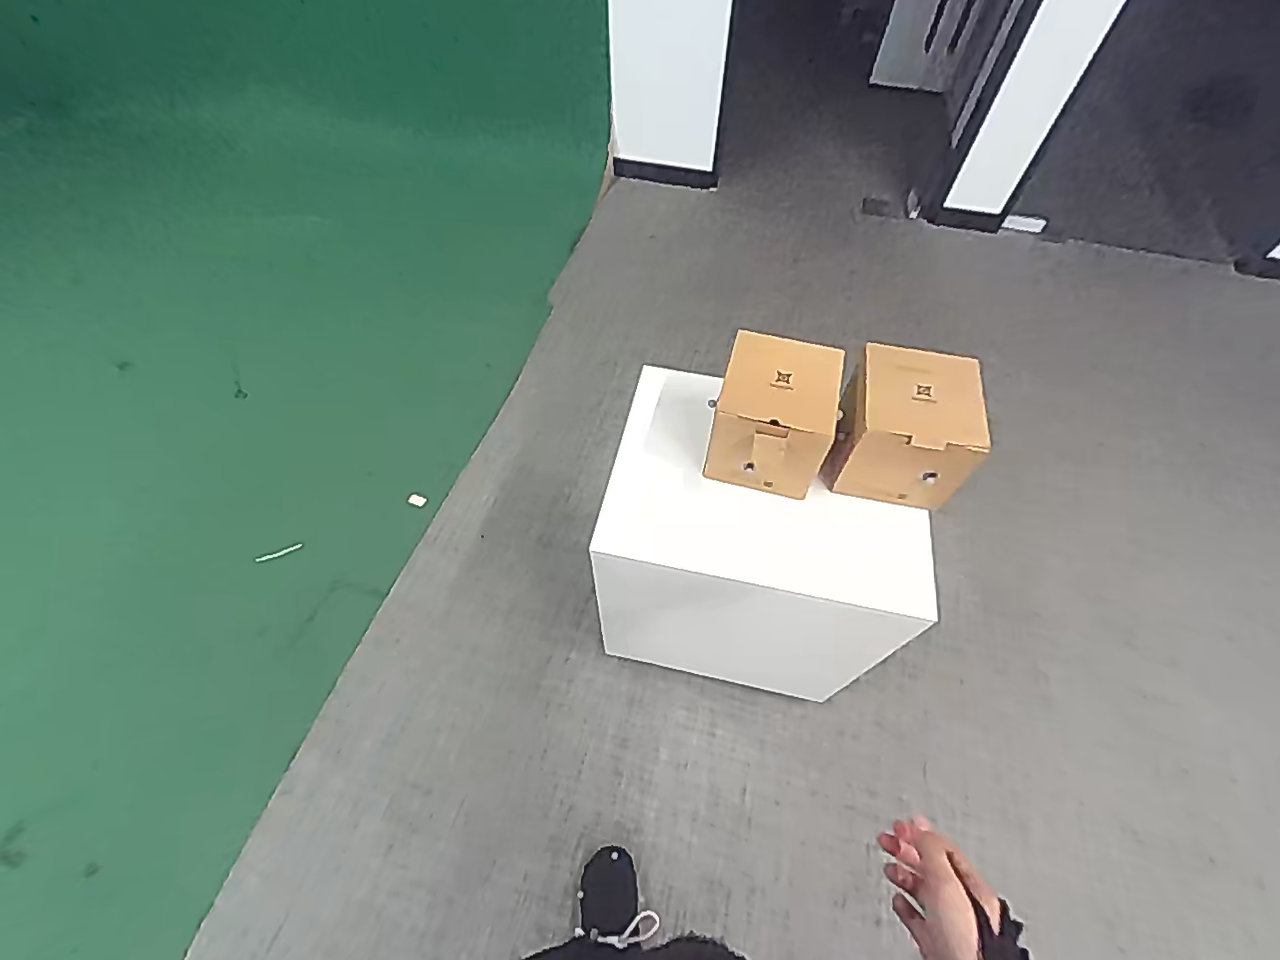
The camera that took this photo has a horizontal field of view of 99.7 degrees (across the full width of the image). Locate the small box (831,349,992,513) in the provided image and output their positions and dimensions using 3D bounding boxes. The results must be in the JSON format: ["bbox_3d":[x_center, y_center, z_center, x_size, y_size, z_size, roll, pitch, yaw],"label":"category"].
[{"bbox_3d":[0.403,-0.070,0.833,0.168,0.176,0.179,11,57,6],"label":"small box"}]
